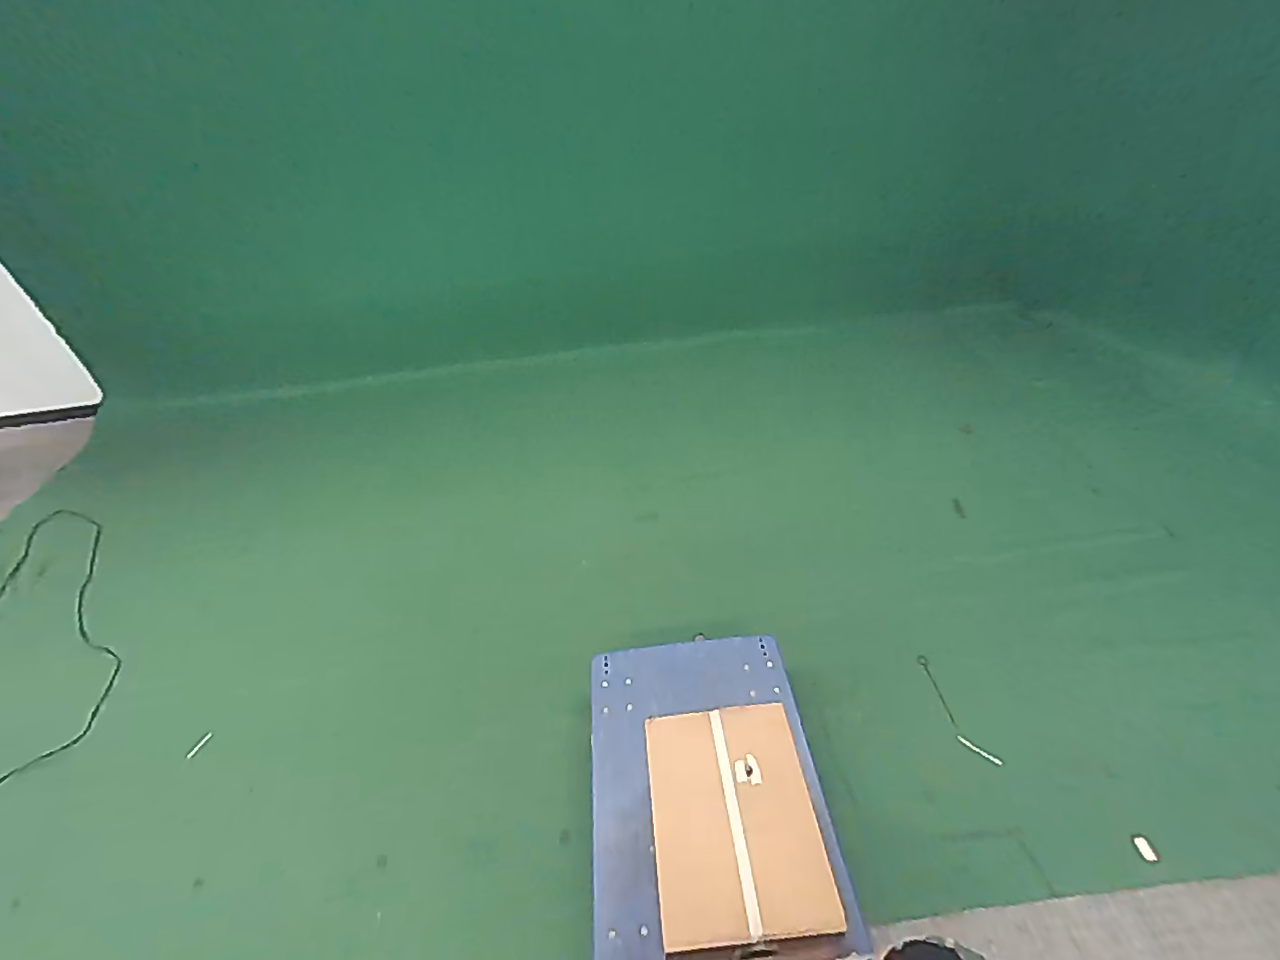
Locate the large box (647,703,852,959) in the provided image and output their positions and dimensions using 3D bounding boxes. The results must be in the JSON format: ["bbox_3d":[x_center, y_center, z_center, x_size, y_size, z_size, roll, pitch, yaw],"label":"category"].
[{"bbox_3d":[0.198,0.750,1.133,0.320,0.320,0.408,-6,39,-1],"label":"large box"}]
